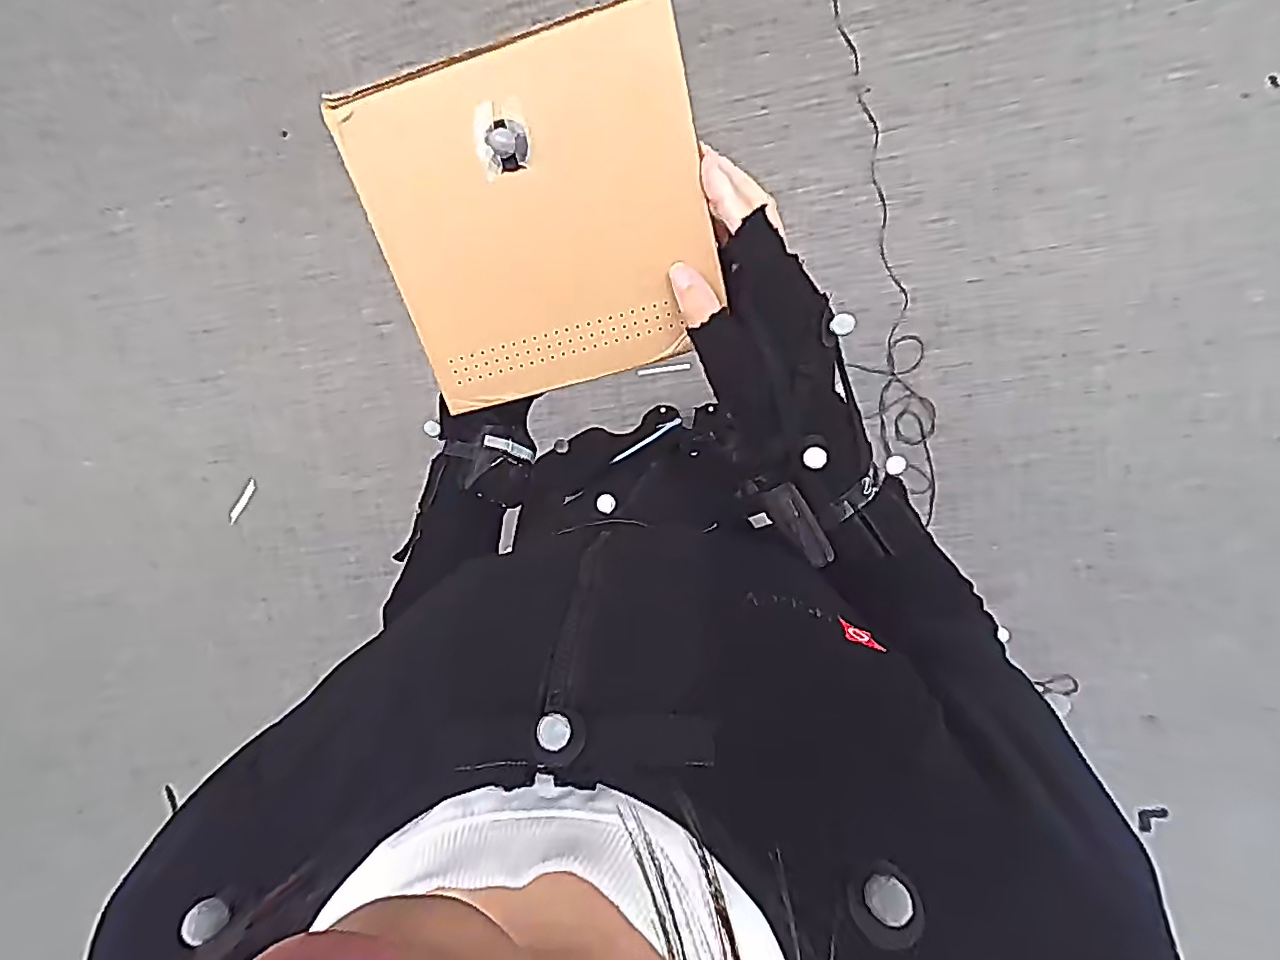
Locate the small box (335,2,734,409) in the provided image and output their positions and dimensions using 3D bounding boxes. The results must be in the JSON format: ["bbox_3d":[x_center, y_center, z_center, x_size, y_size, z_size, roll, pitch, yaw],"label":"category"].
[{"bbox_3d":[-0.047,-0.160,0.360,0.179,0.168,0.176,-13,116,7],"label":"small box"}]
